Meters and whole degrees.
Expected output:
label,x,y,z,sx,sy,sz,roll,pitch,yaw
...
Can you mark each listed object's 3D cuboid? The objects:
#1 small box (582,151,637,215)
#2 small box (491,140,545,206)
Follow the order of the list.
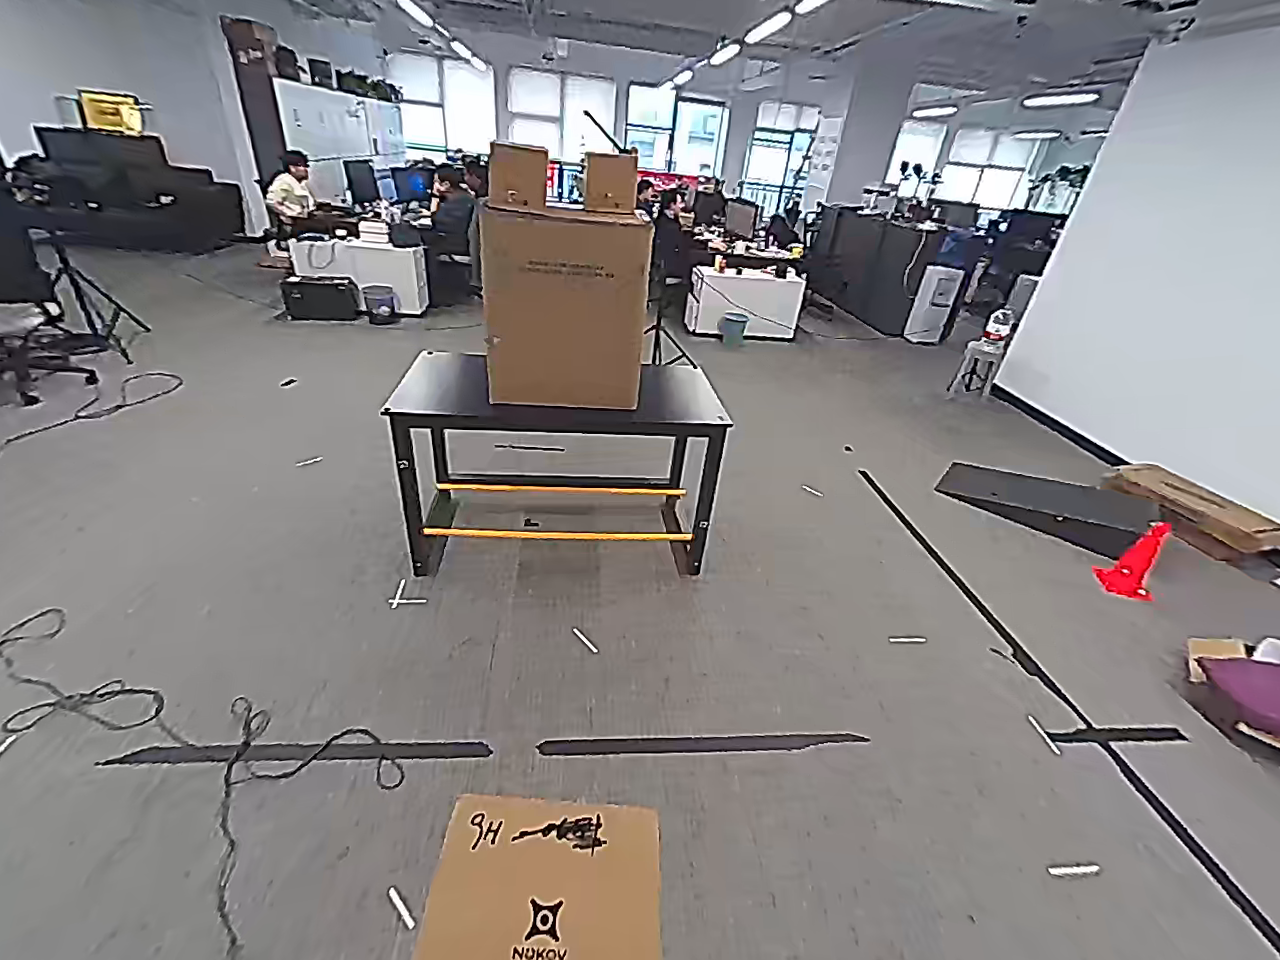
label,x,y,z,sx,sy,sz,roll,pitch,yaw
small box,-0.107,-0.988,1.801,0.168,0.176,0.179,-1,31,-10
small box,-0.401,-1.011,1.786,0.168,0.176,0.179,1,30,-10
